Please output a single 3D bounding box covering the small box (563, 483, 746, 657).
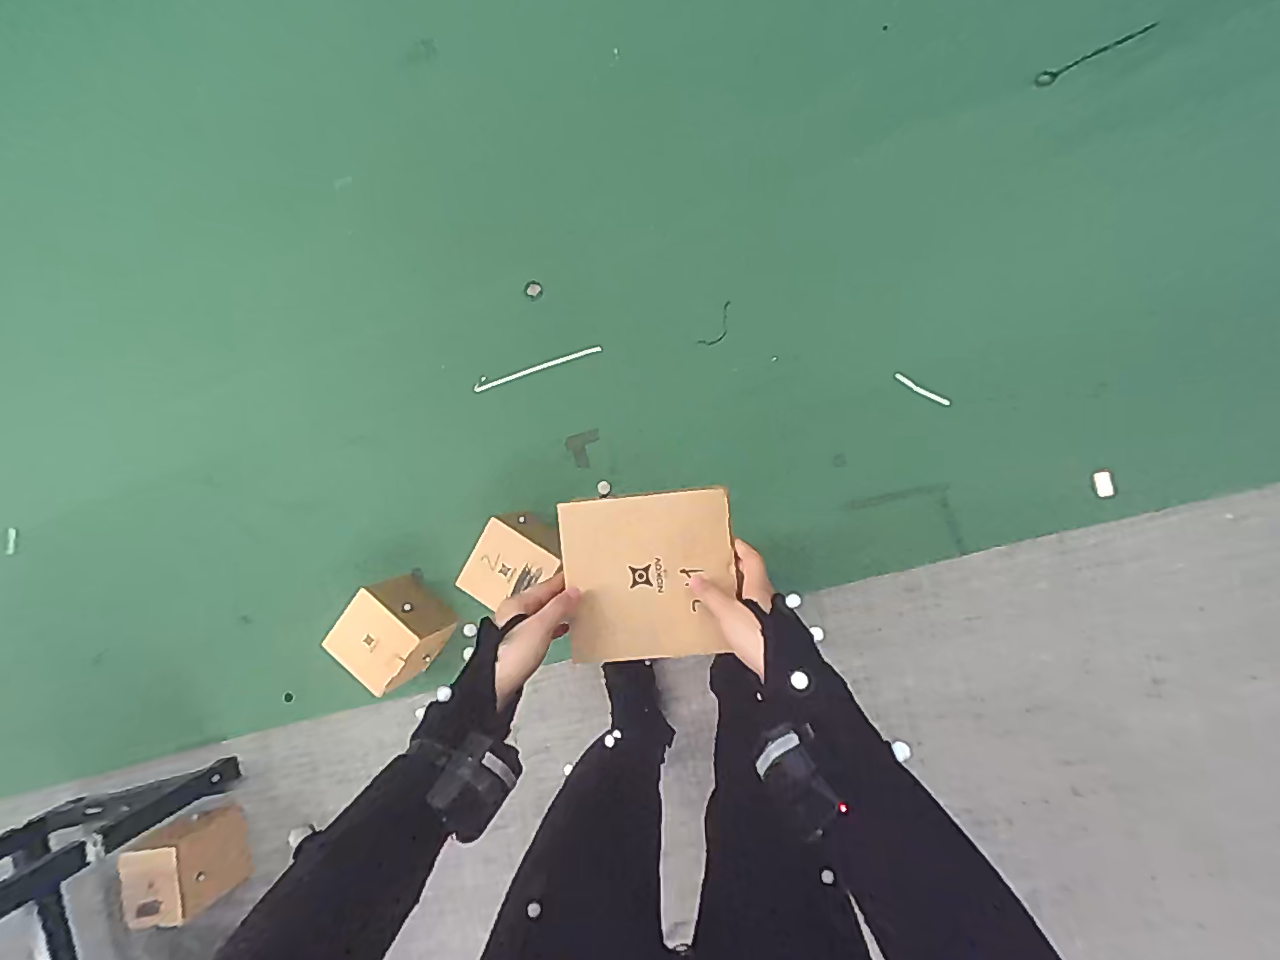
[{"bbox_3d":[0.020,0.093,0.625,0.179,0.176,0.168,-6,91,4],"label":"small box"}]

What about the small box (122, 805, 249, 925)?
[{"bbox_3d":[-1.103,0.937,1.326,0.168,0.176,0.179,-12,88,10],"label":"small box"}]

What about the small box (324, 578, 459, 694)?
[{"bbox_3d":[-0.551,0.338,1.219,0.179,0.176,0.168,38,97,7],"label":"small box"}]
